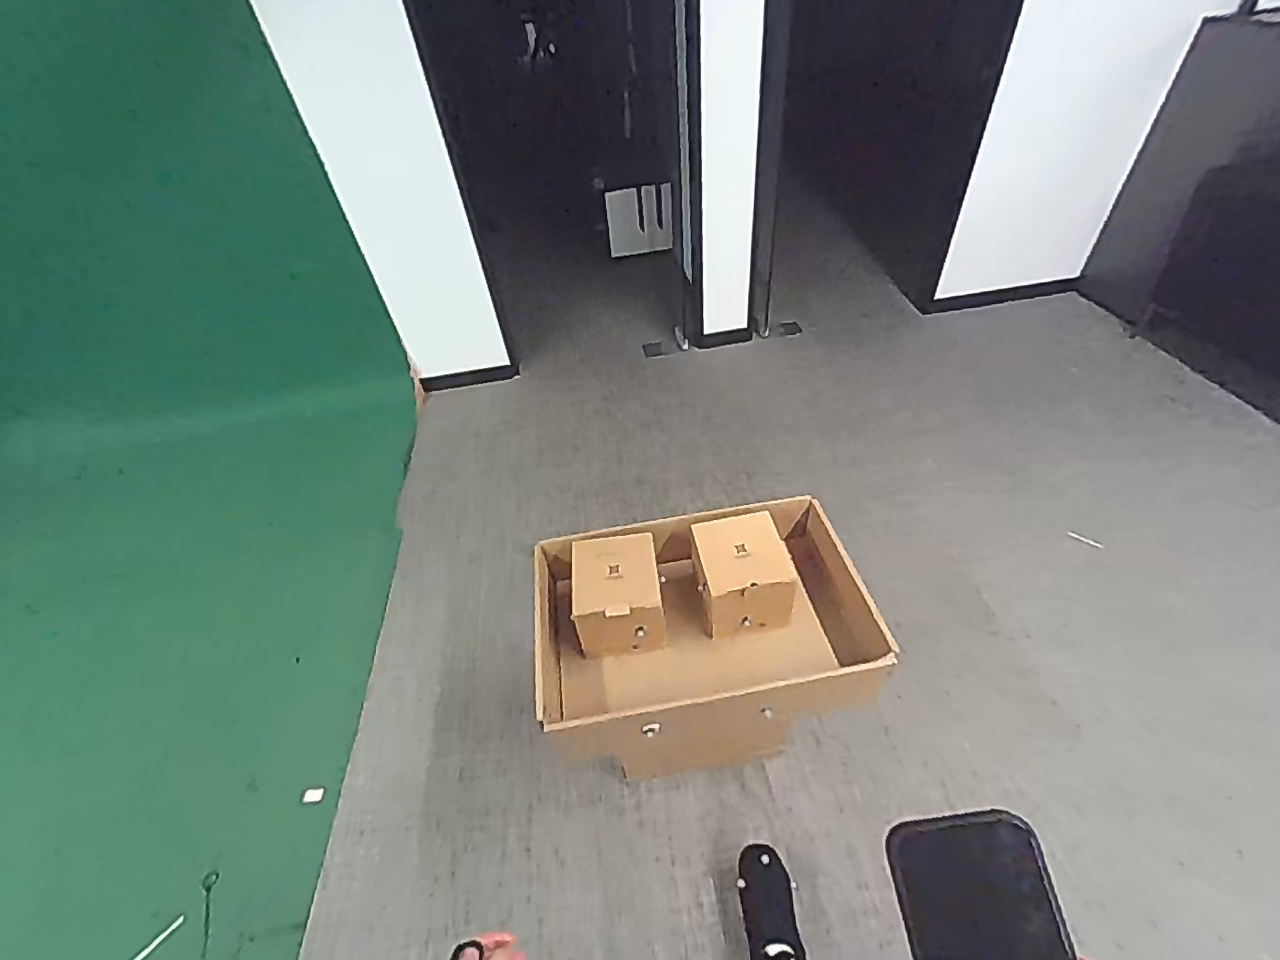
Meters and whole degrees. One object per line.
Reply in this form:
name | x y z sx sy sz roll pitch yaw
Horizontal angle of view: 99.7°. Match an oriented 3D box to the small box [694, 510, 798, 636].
small box | 0.207 0.190 1.103 0.168 0.176 0.179 -11 46 -2
